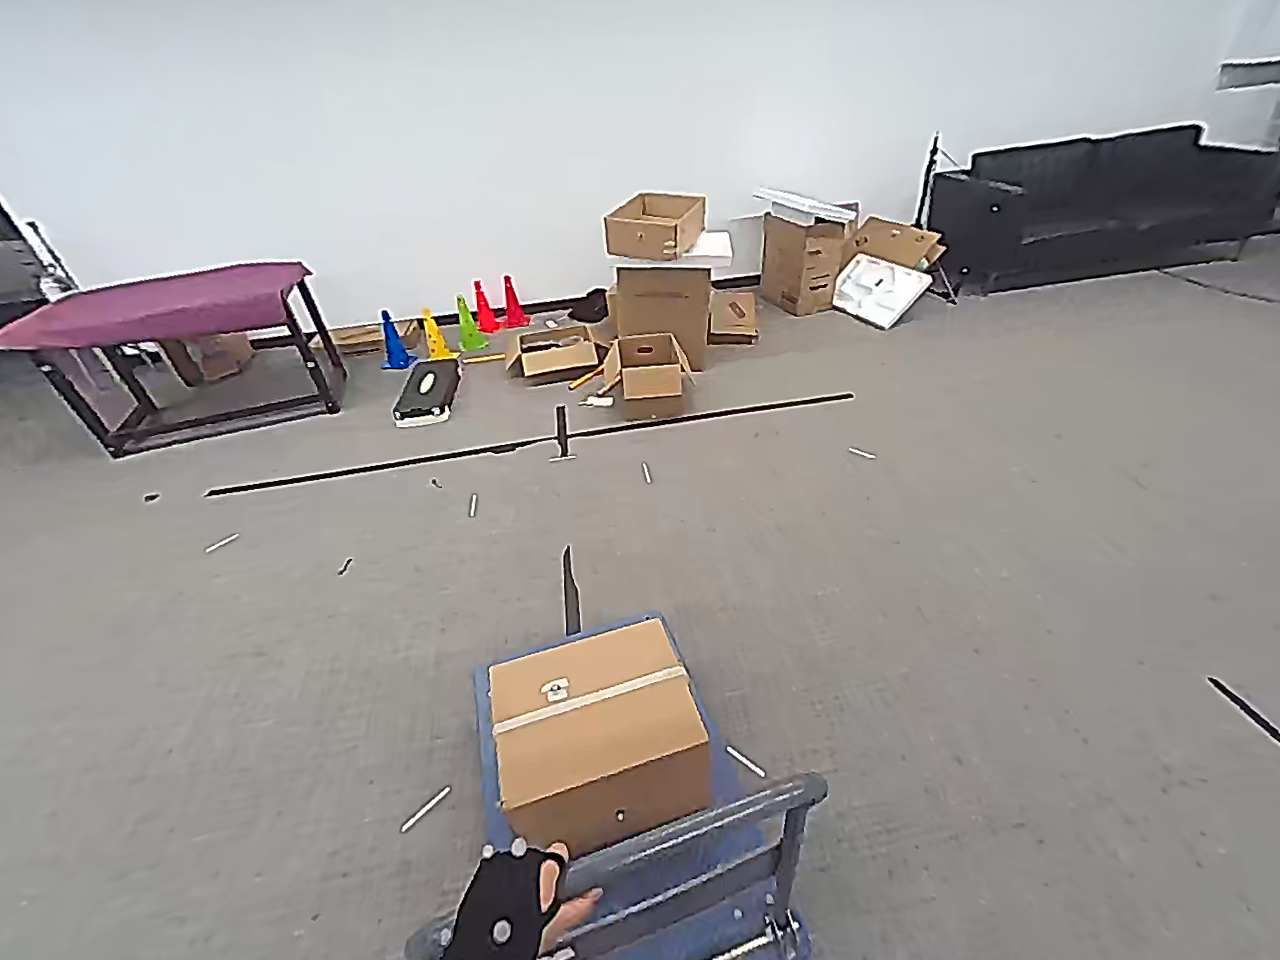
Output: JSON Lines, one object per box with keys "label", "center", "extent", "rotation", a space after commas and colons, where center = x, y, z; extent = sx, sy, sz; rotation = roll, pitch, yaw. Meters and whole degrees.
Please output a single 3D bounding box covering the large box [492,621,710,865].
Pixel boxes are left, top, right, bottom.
{"label": "large box", "center": [-0.085, 0.588, 1.228], "extent": [0.408, 0.320, 0.320], "rotation": [-15, 38, -10]}
